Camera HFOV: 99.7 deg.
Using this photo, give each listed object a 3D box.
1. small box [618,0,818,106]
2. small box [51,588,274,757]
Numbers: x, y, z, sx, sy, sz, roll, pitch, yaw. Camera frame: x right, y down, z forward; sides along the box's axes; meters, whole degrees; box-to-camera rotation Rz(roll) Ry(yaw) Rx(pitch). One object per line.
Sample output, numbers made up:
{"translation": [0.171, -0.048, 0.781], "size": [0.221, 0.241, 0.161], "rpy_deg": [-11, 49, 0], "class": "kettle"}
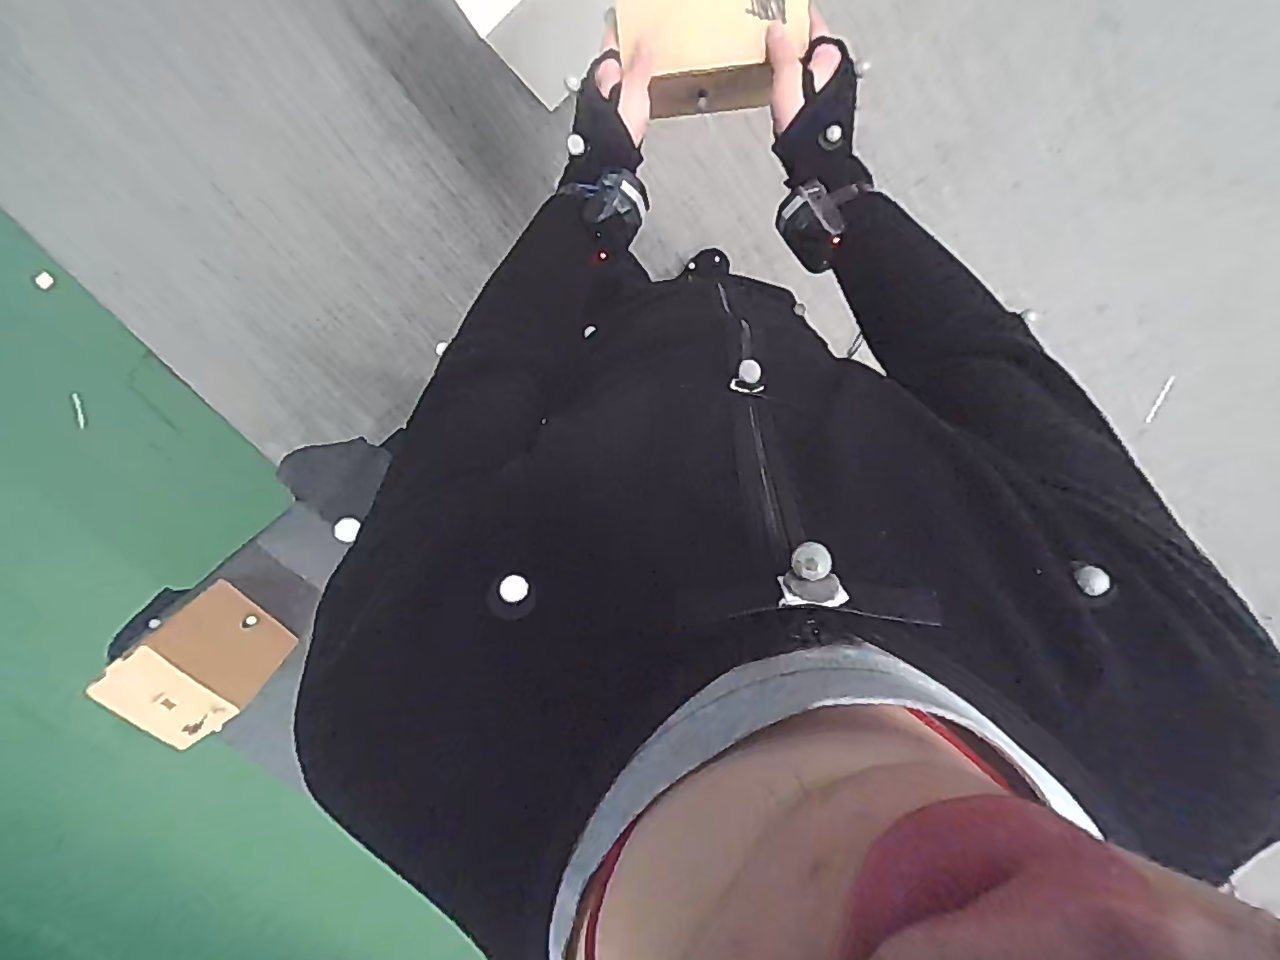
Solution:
{"translation": [0.066, -0.485, 0.525], "size": [0.179, 0.176, 0.168], "rpy_deg": [-3, 112, 3], "class": "small box"}
{"translation": [-0.763, 0.303, 0.886], "size": [0.168, 0.176, 0.179], "rpy_deg": [-32, 112, 14], "class": "small box"}
